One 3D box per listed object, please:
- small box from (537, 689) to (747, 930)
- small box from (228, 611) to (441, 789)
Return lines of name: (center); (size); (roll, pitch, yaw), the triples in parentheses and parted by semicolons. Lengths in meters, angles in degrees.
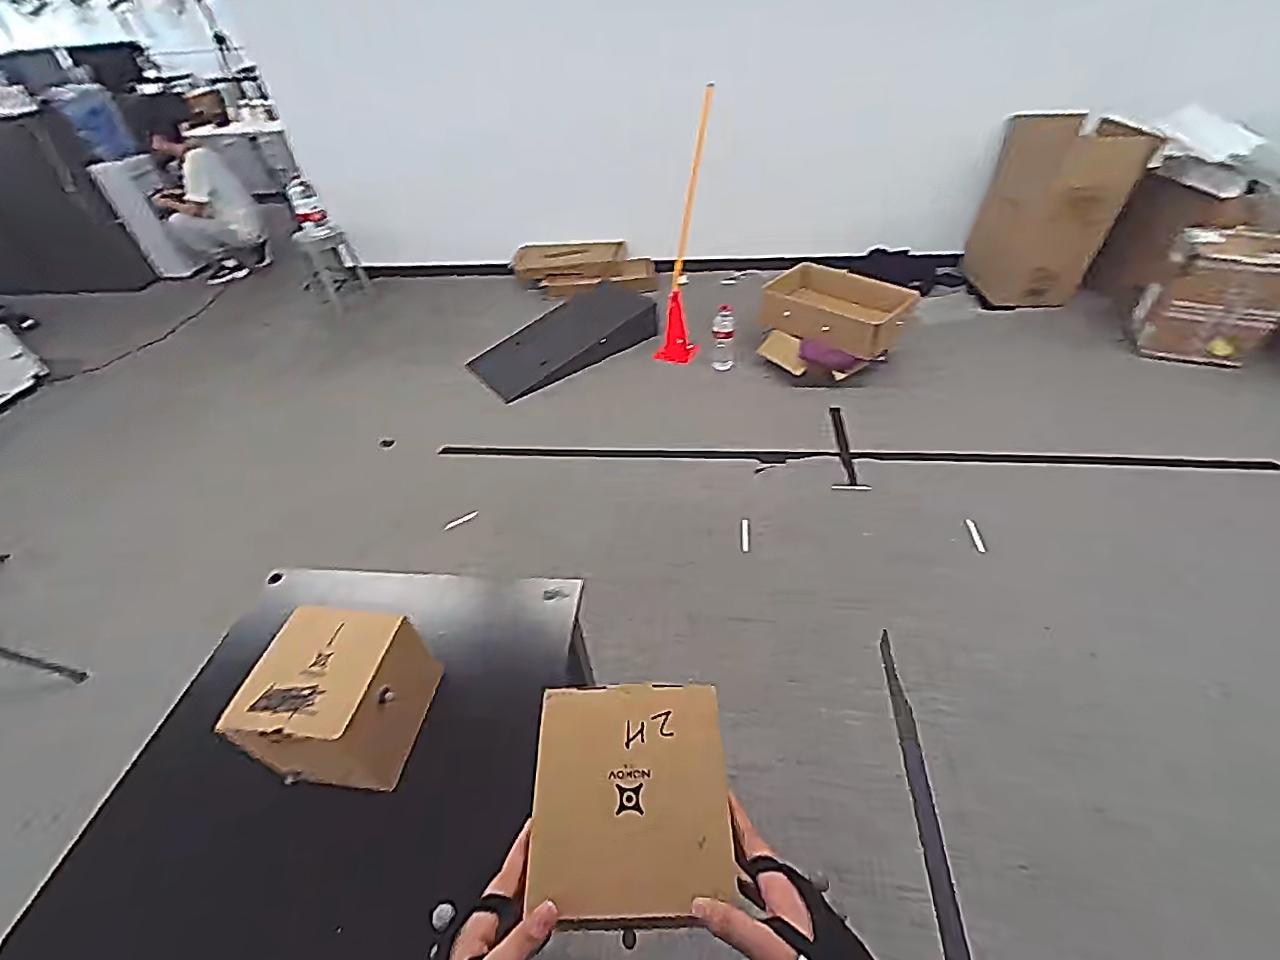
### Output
small box: (0.005, 0.321, 0.526); (0.168, 0.176, 0.179); (0, 47, 1)
small box: (-0.404, 0.309, 0.757); (0.168, 0.176, 0.179); (2, 43, 8)
